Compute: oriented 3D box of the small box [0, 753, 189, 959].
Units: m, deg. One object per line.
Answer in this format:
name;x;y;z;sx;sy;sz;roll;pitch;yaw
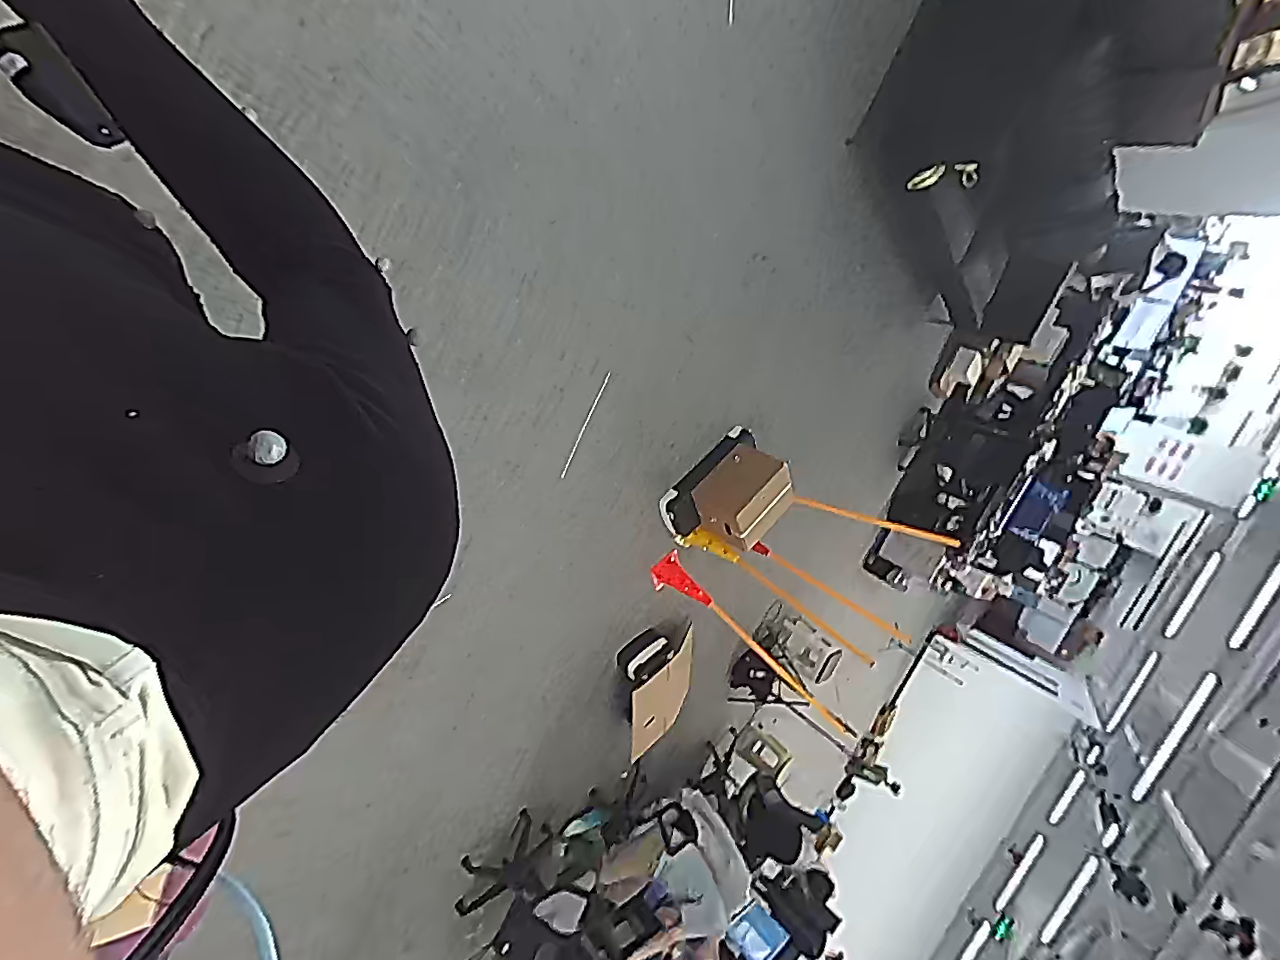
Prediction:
small box;-0.806;0.549;0.801;0.168;0.176;0.179;13;104;-51
